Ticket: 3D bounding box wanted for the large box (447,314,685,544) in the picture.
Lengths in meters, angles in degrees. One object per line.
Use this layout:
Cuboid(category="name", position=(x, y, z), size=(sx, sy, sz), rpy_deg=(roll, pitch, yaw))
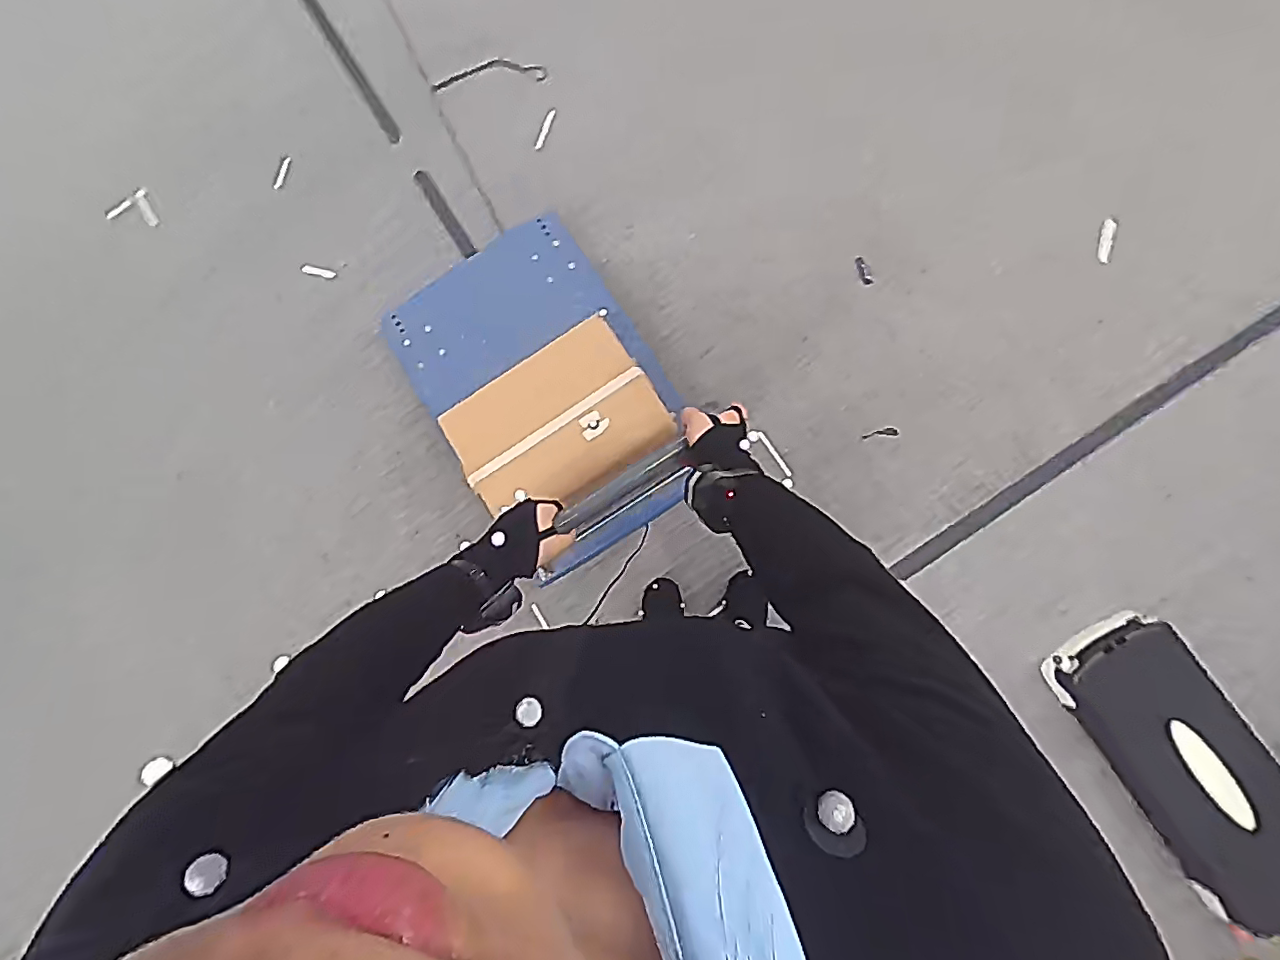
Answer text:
Cuboid(category="large box", position=(-0.146, -0.090, 1.244), size=(0.408, 0.320, 0.320), rpy_deg=(-33, 80, 0))
